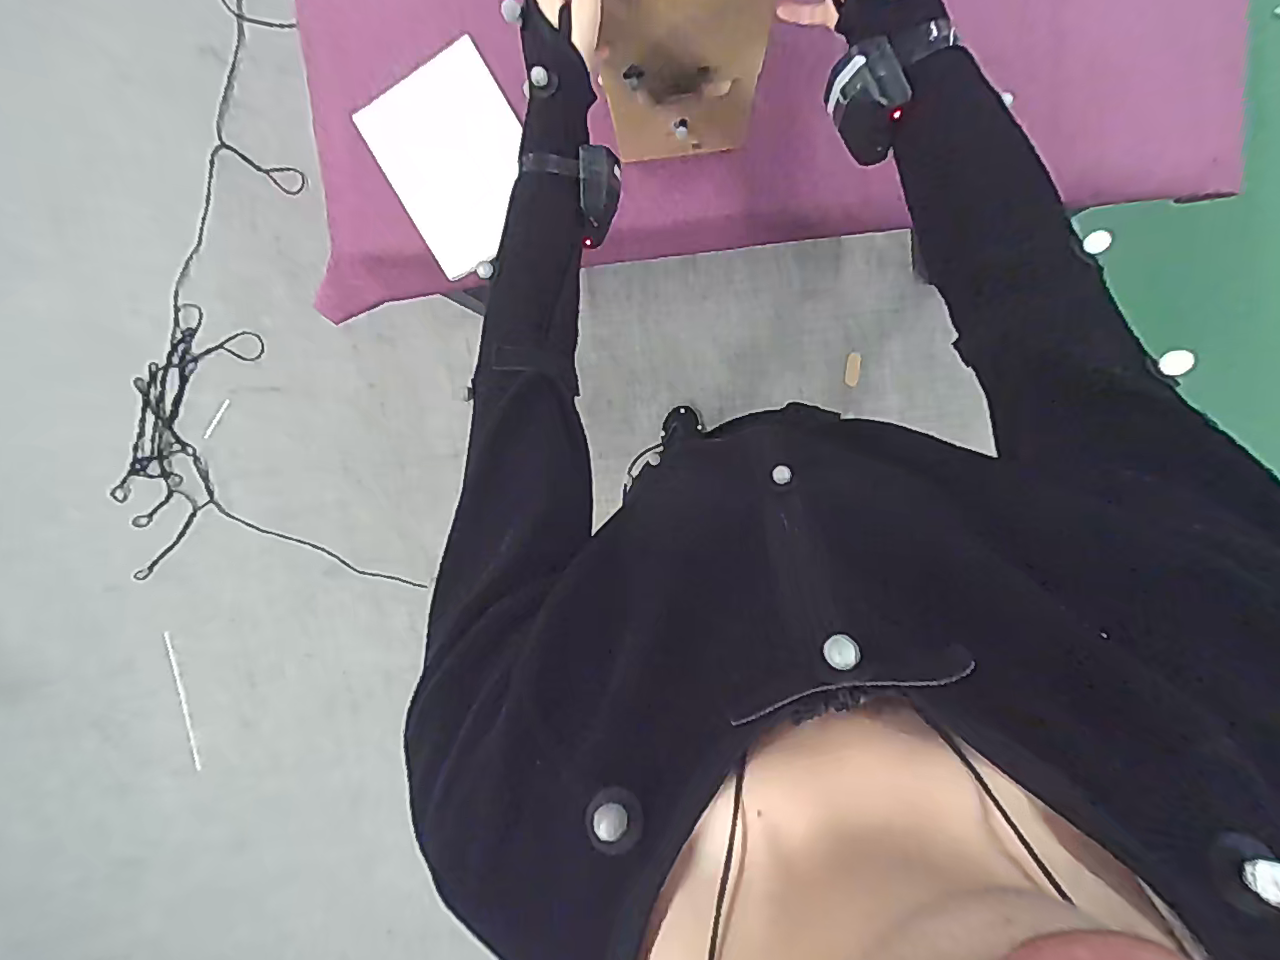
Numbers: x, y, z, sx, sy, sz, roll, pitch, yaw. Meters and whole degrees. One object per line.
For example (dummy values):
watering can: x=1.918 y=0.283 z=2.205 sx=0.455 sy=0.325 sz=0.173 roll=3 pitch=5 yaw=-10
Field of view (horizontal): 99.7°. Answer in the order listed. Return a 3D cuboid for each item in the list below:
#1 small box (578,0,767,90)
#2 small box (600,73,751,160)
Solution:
small box: x=0.029 y=-0.492 z=0.491 sx=0.168 sy=0.176 sz=0.179 roll=-4 pitch=94 yaw=4
small box: x=0.040 y=-0.514 z=0.655 sx=0.168 sy=0.176 sz=0.179 roll=-4 pitch=96 yaw=4
